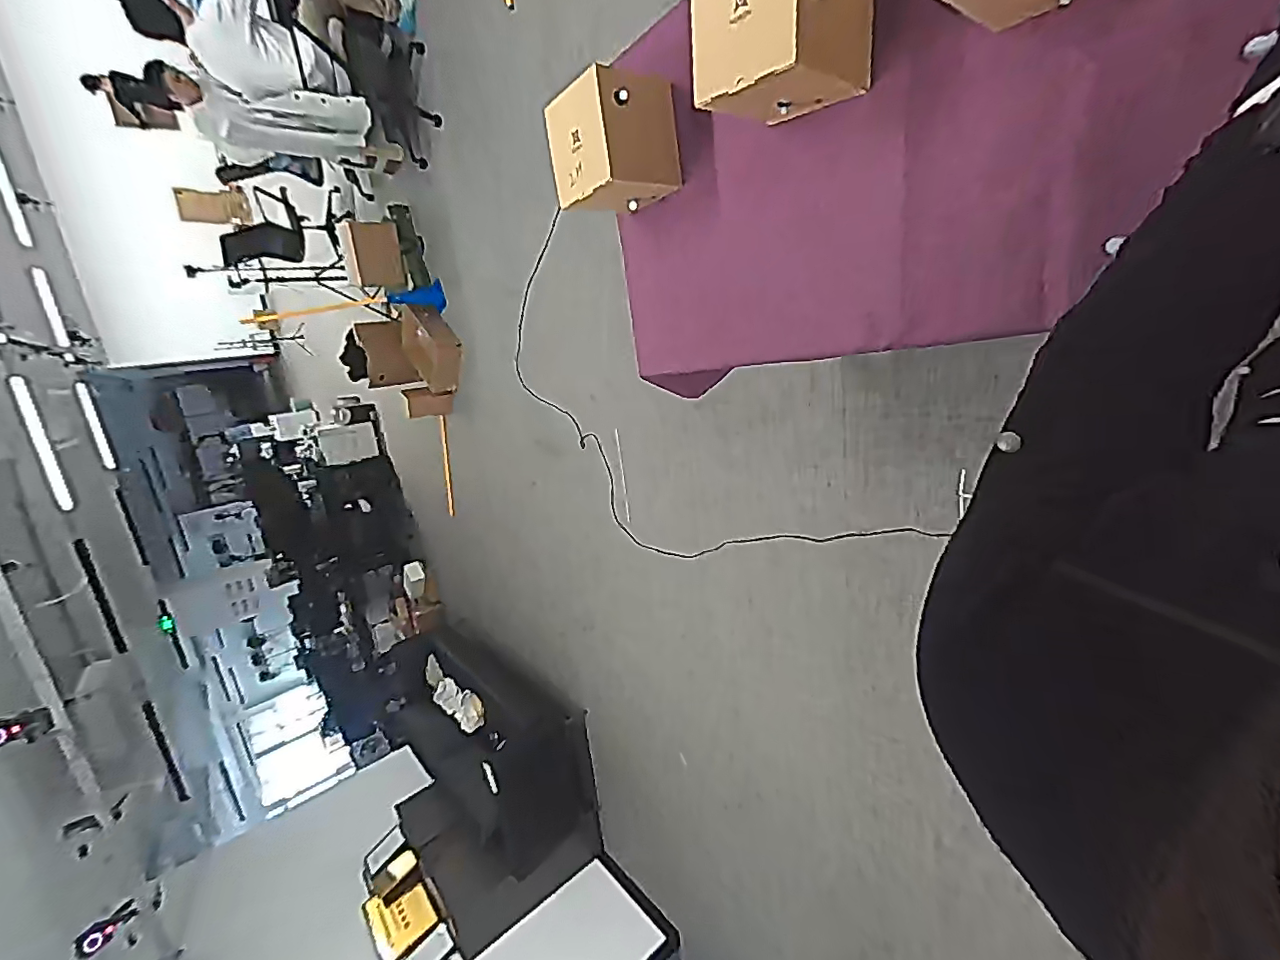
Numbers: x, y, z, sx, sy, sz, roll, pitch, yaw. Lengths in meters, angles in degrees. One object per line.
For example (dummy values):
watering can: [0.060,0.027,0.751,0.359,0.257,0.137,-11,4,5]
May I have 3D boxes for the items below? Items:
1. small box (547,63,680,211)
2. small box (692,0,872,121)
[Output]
small box: [-0.046,-0.613,0.993,0.168,0.176,0.179,8,110,51]
small box: [0.185,-0.599,0.707,0.168,0.176,0.179,18,119,48]
